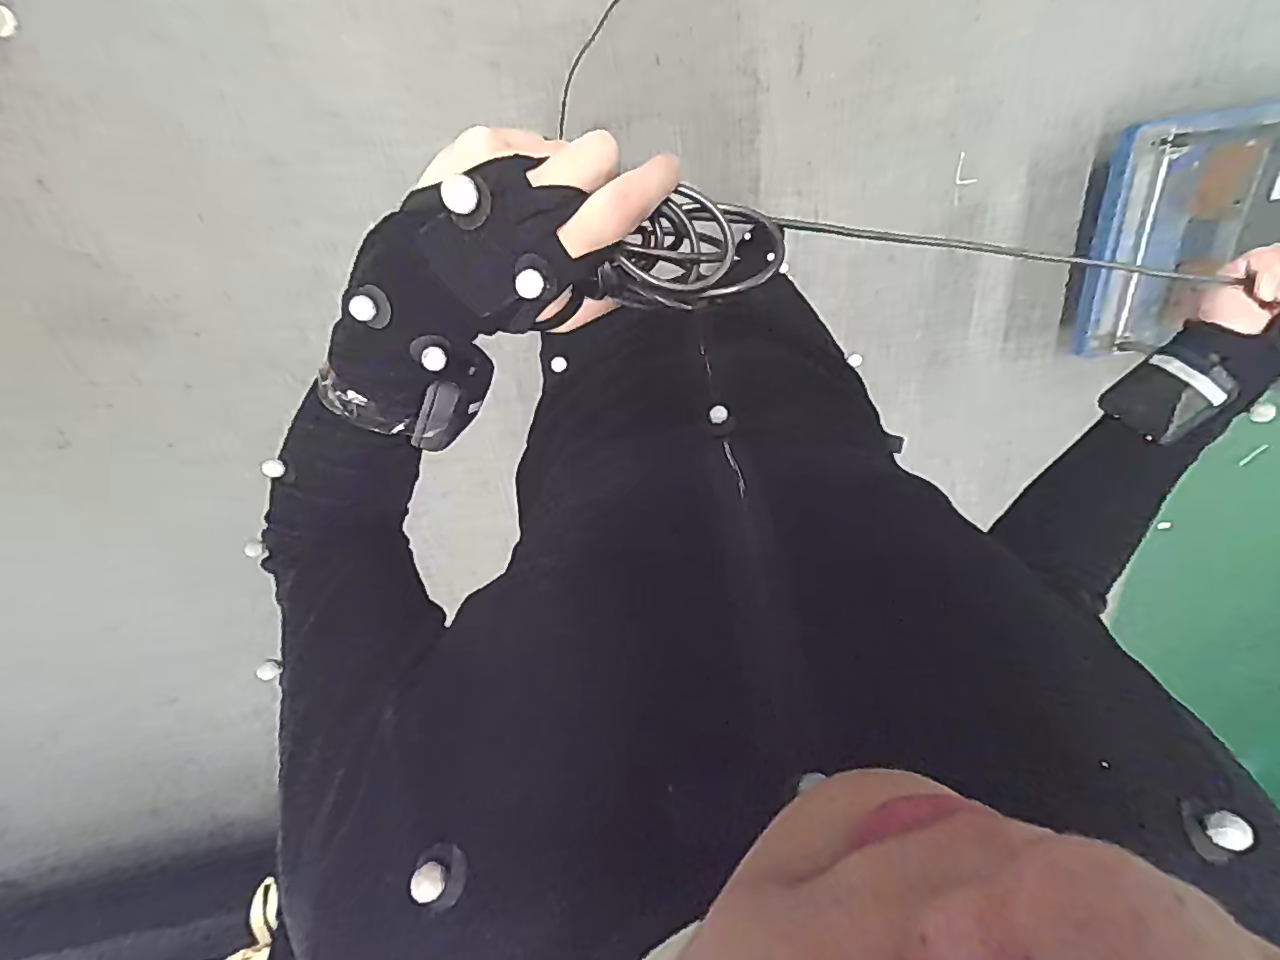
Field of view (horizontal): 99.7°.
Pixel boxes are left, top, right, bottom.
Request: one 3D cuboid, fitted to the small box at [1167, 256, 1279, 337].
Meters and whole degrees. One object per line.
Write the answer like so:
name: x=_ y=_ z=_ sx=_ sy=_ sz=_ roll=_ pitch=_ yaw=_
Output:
small box: x=1.557 y=-0.482 z=1.408 sx=0.179 sy=0.176 sz=0.168 roll=-9 pitch=117 yaw=-2
